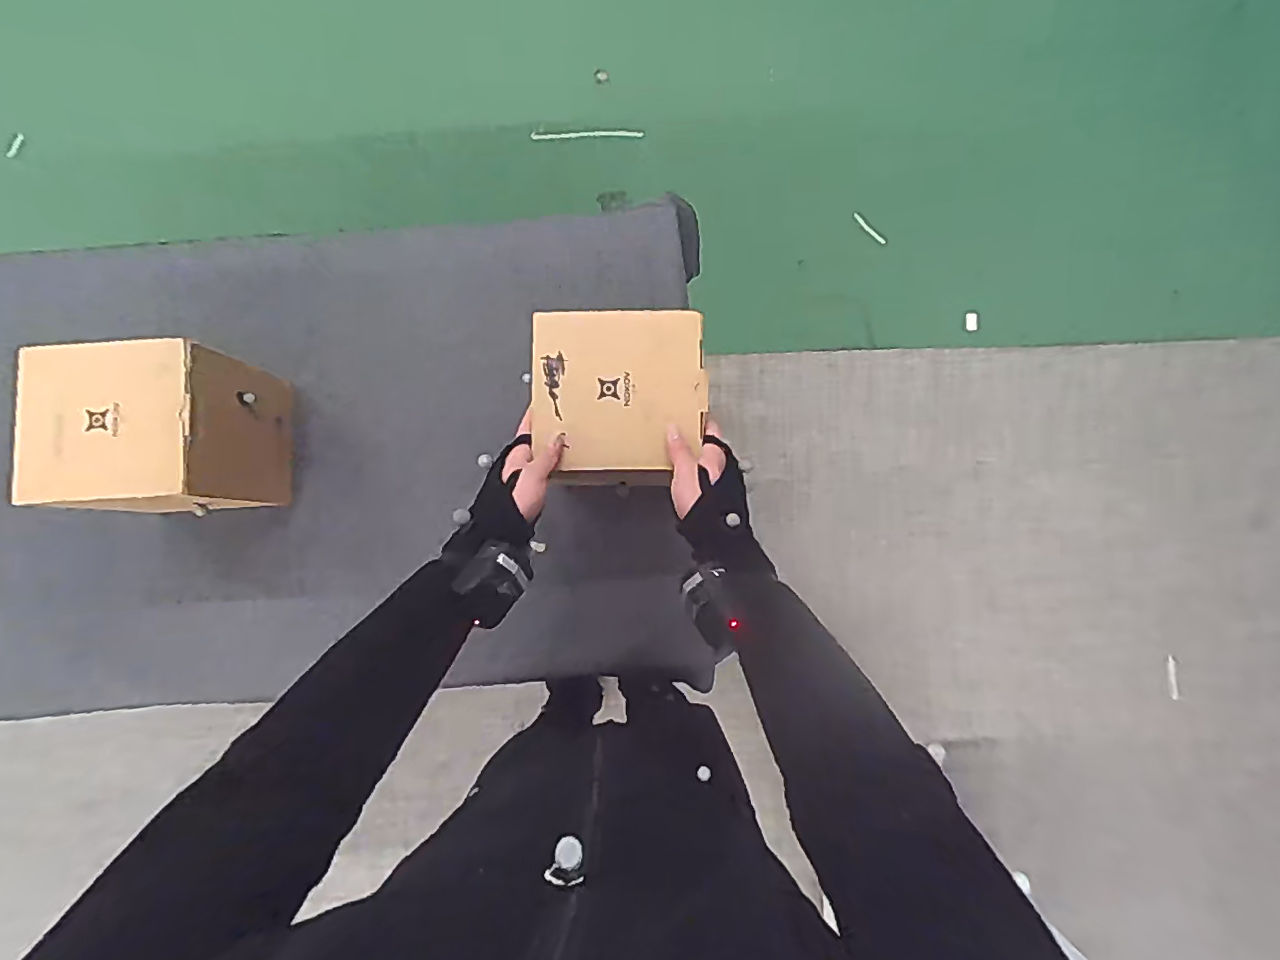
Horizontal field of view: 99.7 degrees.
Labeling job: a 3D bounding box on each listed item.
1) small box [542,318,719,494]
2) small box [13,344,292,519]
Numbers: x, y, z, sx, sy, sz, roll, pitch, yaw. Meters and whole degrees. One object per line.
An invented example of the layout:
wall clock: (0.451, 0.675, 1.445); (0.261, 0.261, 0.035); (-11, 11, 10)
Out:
small box: (-0.010, -0.073, 0.616); (0.179, 0.176, 0.168); (0, 84, 0)
small box: (-0.529, -0.044, 0.615); (0.179, 0.176, 0.168); (-4, 83, 1)
